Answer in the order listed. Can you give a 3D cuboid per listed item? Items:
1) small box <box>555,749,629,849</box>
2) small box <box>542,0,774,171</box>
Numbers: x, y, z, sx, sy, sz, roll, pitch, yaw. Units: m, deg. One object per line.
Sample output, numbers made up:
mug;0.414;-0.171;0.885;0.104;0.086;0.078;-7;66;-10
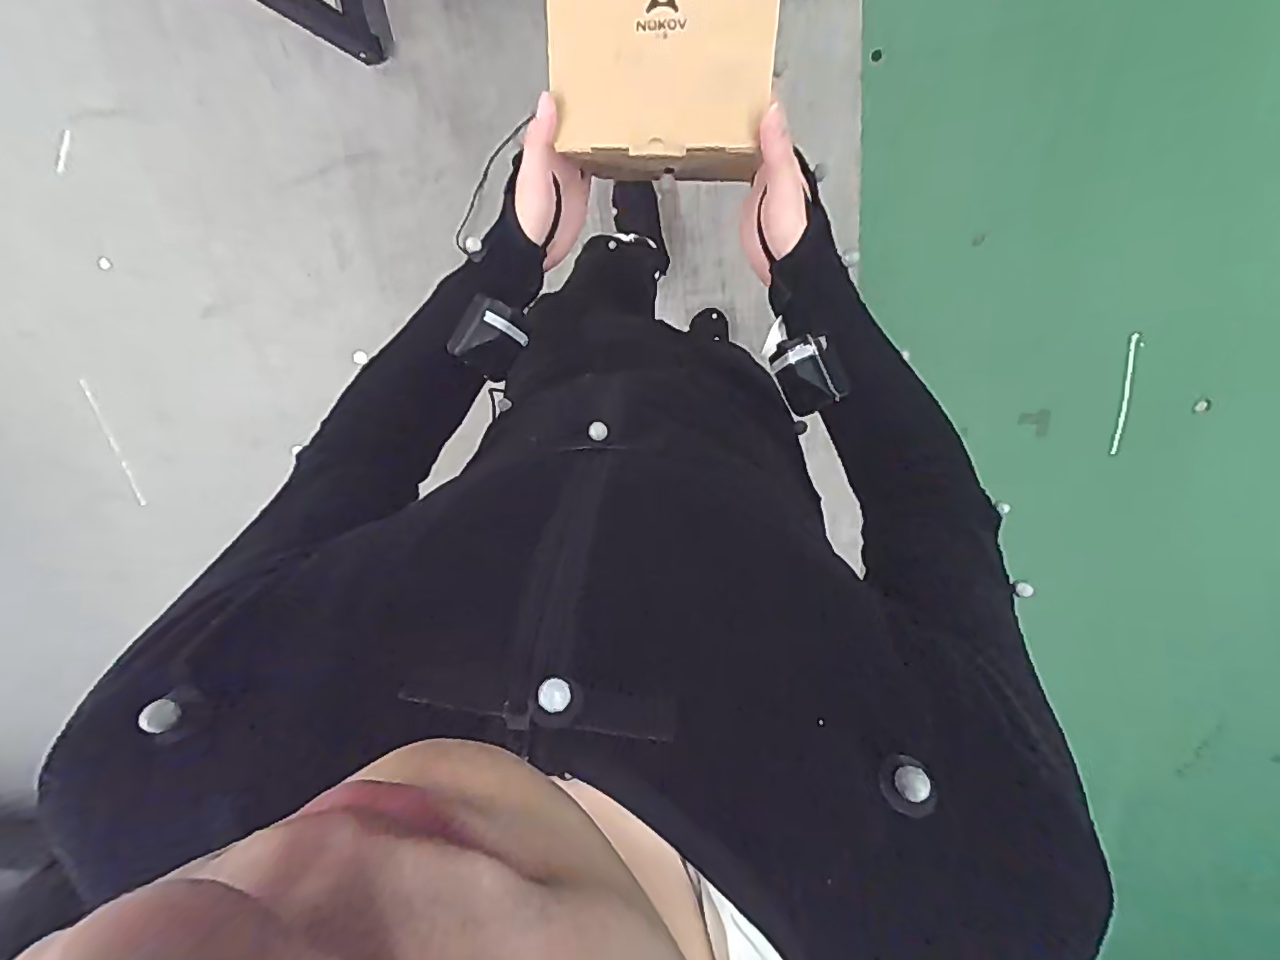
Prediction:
small box;-0.127;0.874;1.493;0.168;0.176;0.179;-1;112;10
small box;0.023;-0.364;0.449;0.168;0.176;0.179;4;114;8
